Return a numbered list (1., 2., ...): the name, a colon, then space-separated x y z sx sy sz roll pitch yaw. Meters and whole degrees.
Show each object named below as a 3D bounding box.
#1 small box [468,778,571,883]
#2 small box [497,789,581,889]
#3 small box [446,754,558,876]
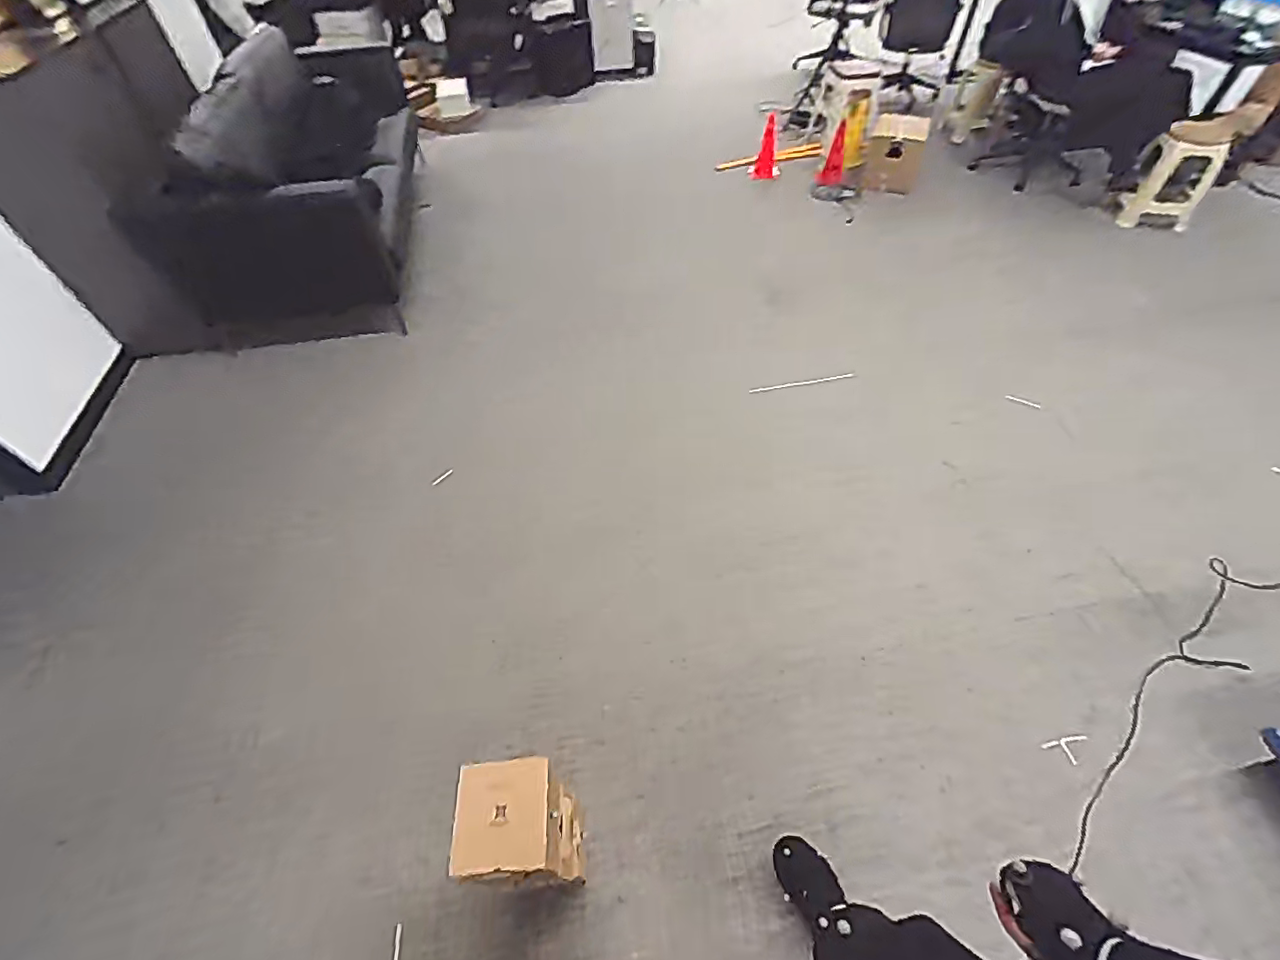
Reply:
1. small box: -0.245 0.745 1.146 0.179 0.176 0.168 -4 52 -1
2. small box: -0.232 0.847 1.274 0.179 0.176 0.168 -7 50 -5
3. small box: -0.249 0.637 1.024 0.168 0.176 0.179 -4 51 -2
